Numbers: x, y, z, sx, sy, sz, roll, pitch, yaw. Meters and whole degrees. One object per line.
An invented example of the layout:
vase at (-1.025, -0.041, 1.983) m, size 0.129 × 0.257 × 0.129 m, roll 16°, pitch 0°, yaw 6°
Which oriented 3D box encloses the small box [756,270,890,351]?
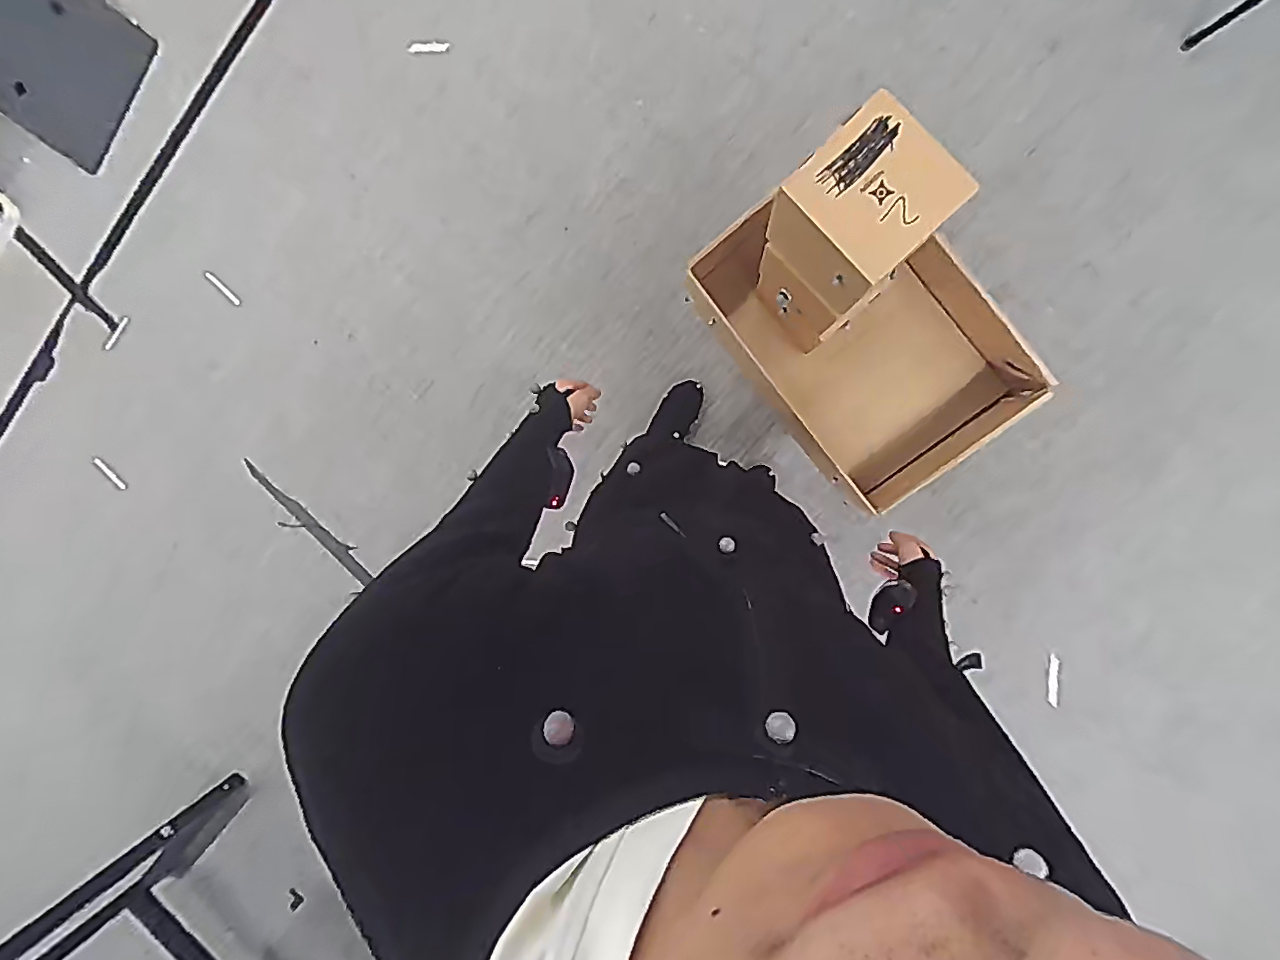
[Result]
small box at (0.347, -0.378, 1.068) m, size 0.168 × 0.176 × 0.179 m, roll -41°, pitch 90°, yaw 9°

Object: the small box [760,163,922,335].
small box at (0.320, -0.371, 0.906) m, size 0.179 × 0.176 × 0.168 m, roll -43°, pitch 88°, yaw 9°
